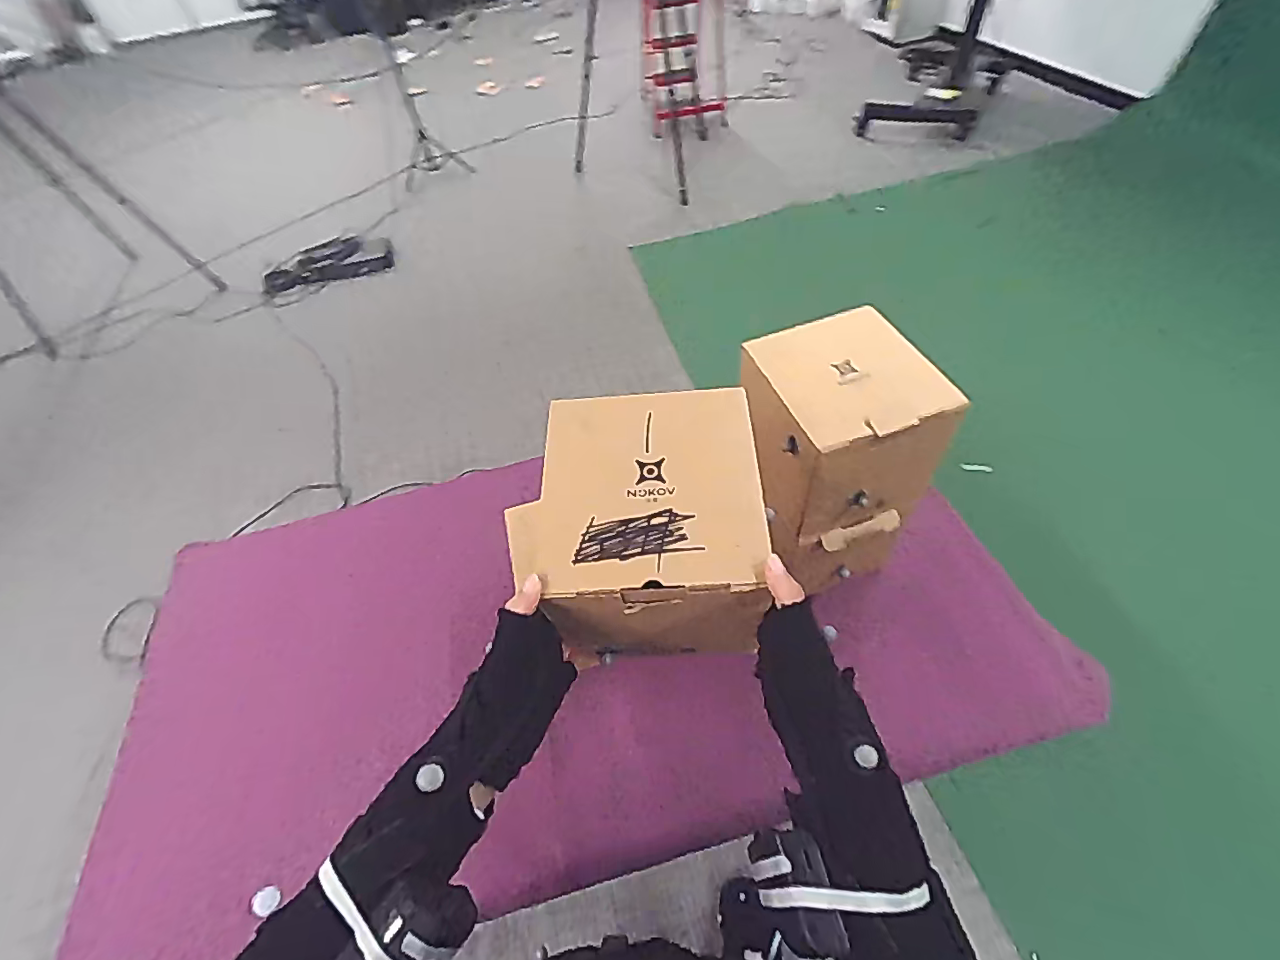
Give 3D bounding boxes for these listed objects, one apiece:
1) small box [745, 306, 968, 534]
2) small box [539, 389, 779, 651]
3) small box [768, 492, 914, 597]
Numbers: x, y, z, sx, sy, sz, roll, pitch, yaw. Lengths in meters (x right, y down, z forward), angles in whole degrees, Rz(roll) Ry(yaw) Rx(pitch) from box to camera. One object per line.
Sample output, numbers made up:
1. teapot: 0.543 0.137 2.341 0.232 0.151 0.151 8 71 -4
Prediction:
1. small box: 0.225 -0.068 0.631 0.168 0.176 0.179 -18 54 -8
2. small box: 0.020 0.045 0.470 0.168 0.176 0.179 -3 58 4
3. small box: 0.237 0.034 0.758 0.168 0.176 0.179 -19 54 -7
